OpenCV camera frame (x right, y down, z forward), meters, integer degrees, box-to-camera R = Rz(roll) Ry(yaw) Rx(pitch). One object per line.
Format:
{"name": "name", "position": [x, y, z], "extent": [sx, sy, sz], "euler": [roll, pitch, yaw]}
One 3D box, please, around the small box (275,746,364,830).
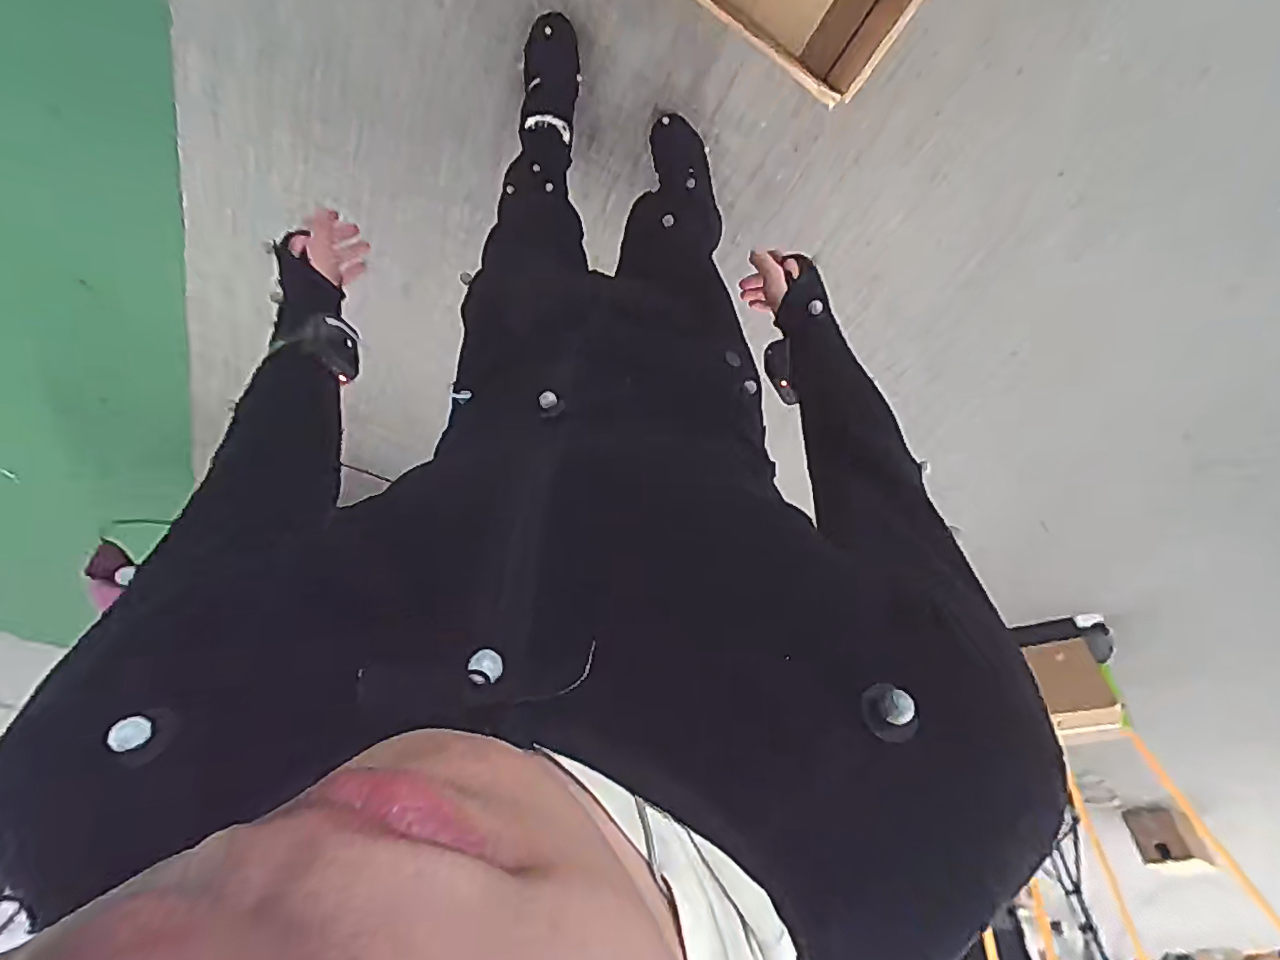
{"name": "small box", "position": [-0.940, 0.907, 1.594], "extent": [0.179, 0.176, 0.168], "euler": [21, 131, -14]}
